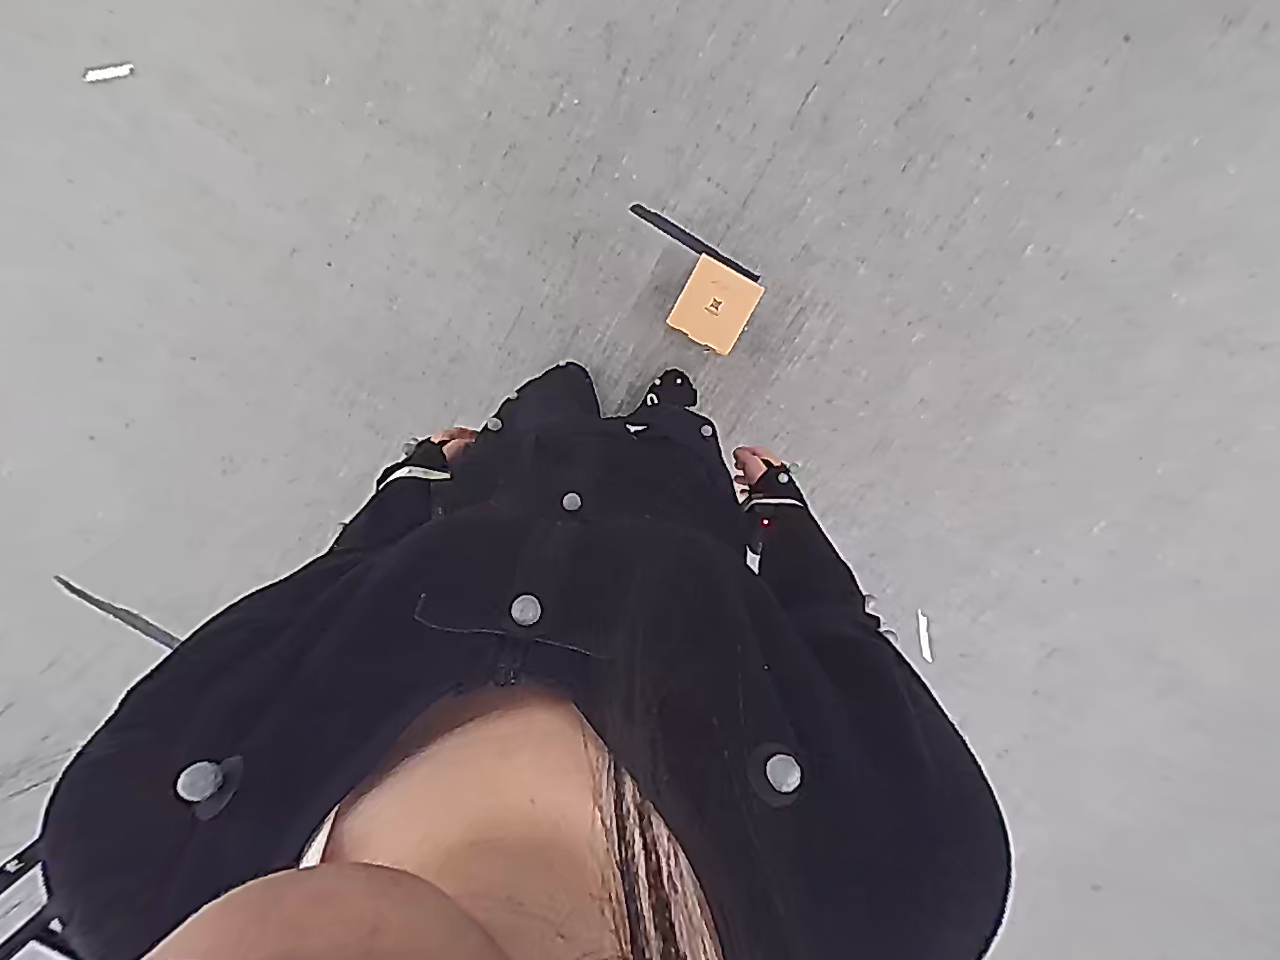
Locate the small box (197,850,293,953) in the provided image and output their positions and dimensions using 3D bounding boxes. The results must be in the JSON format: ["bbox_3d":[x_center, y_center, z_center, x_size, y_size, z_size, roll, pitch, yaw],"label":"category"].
[{"bbox_3d":[-1.297,1.387,1.788,0.168,0.176,0.179,31,102,-4],"label":"small box"}]
